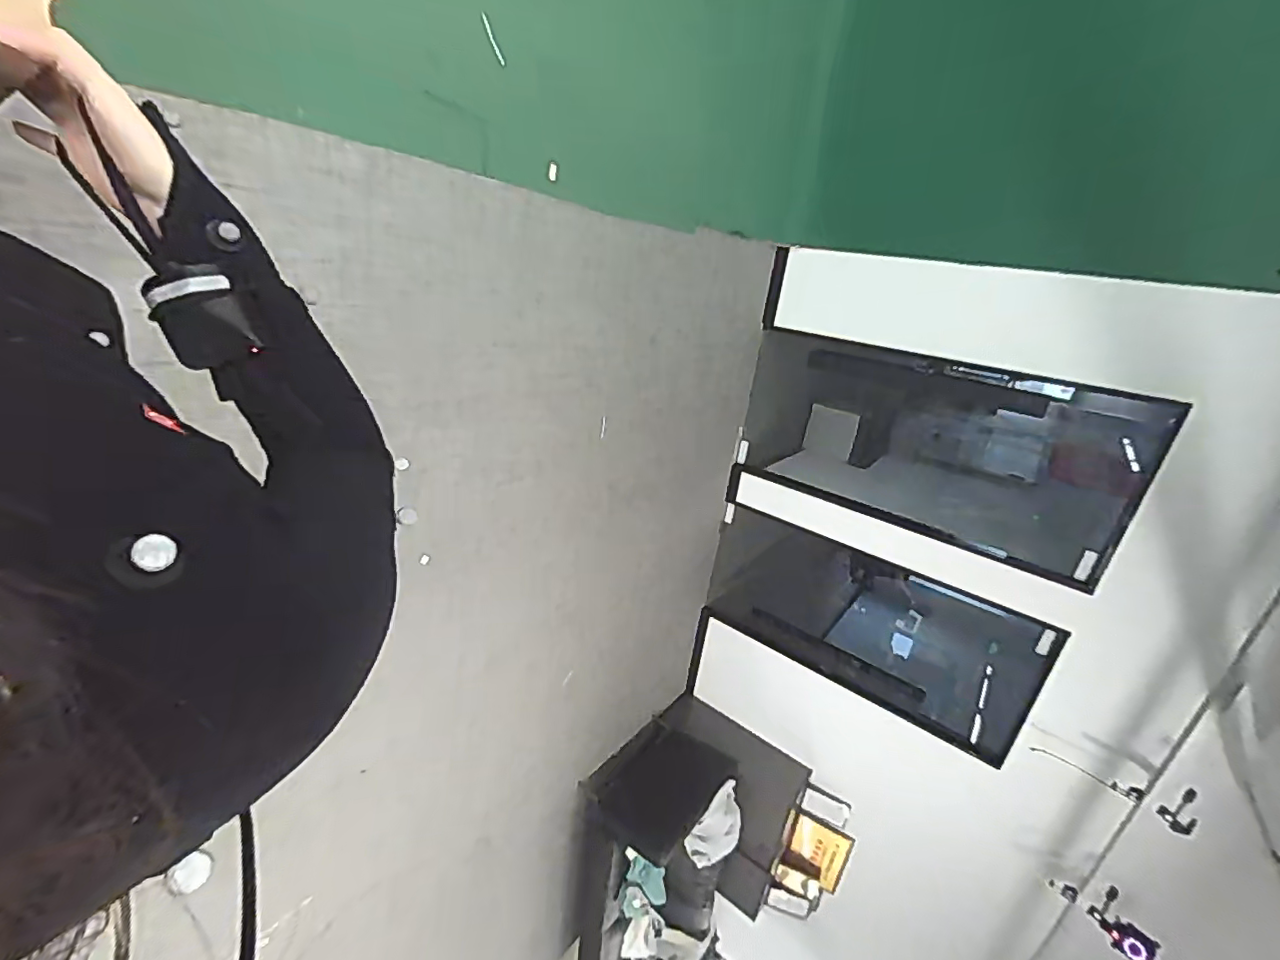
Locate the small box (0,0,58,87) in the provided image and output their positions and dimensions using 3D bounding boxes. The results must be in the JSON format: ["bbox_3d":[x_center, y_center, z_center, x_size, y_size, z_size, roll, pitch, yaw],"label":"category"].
[{"bbox_3d":[-0.433,-0.337,0.275,0.179,0.176,0.168,10,93,-59],"label":"small box"}]
